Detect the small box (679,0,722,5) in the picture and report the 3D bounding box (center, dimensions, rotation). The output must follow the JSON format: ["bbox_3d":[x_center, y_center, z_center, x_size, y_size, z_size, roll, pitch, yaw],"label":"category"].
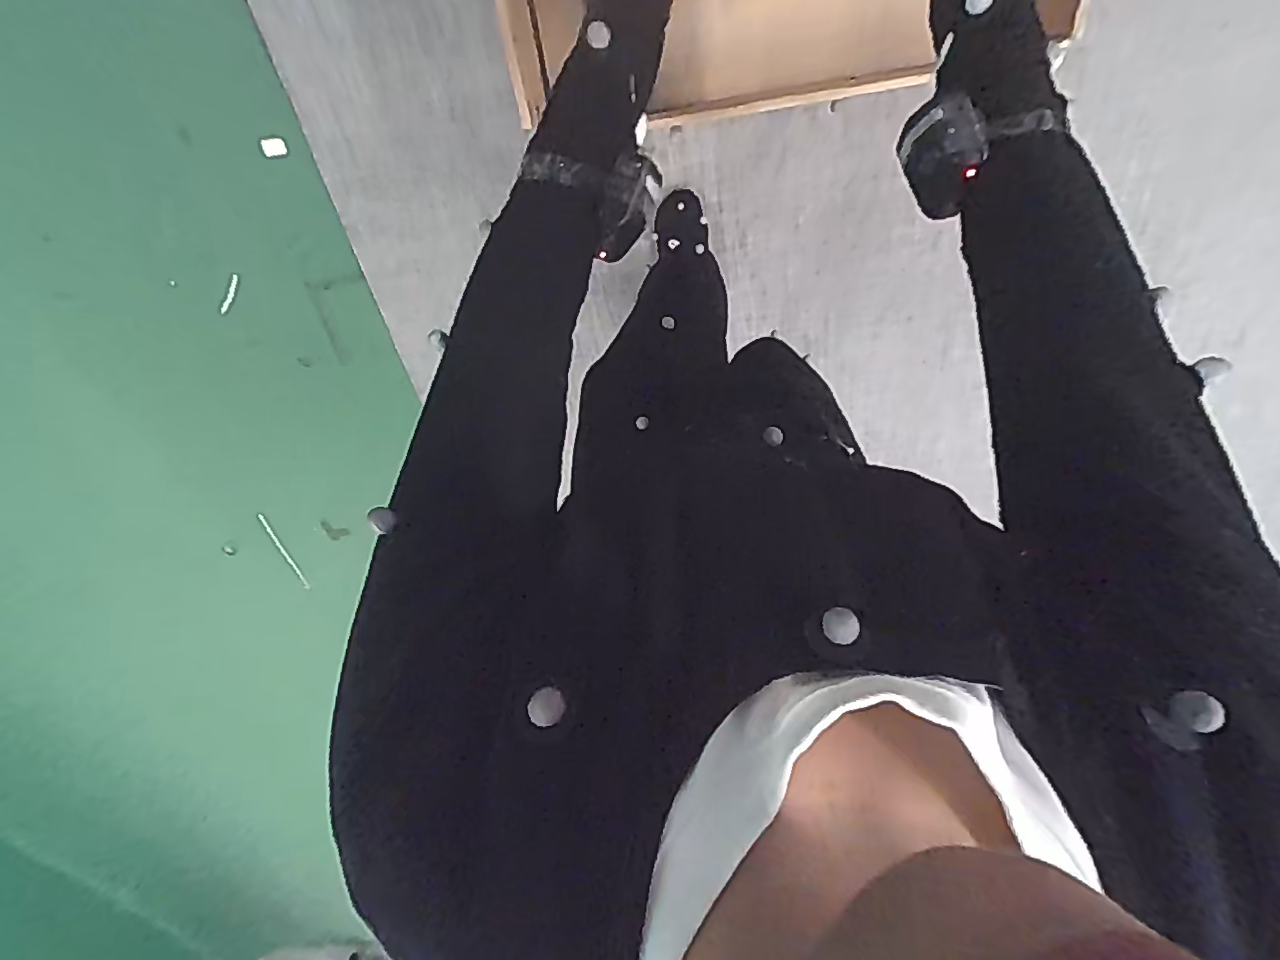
[{"bbox_3d":[0.109,-0.628,0.561,0.168,0.176,0.179,-7,120,3],"label":"small box"}]
